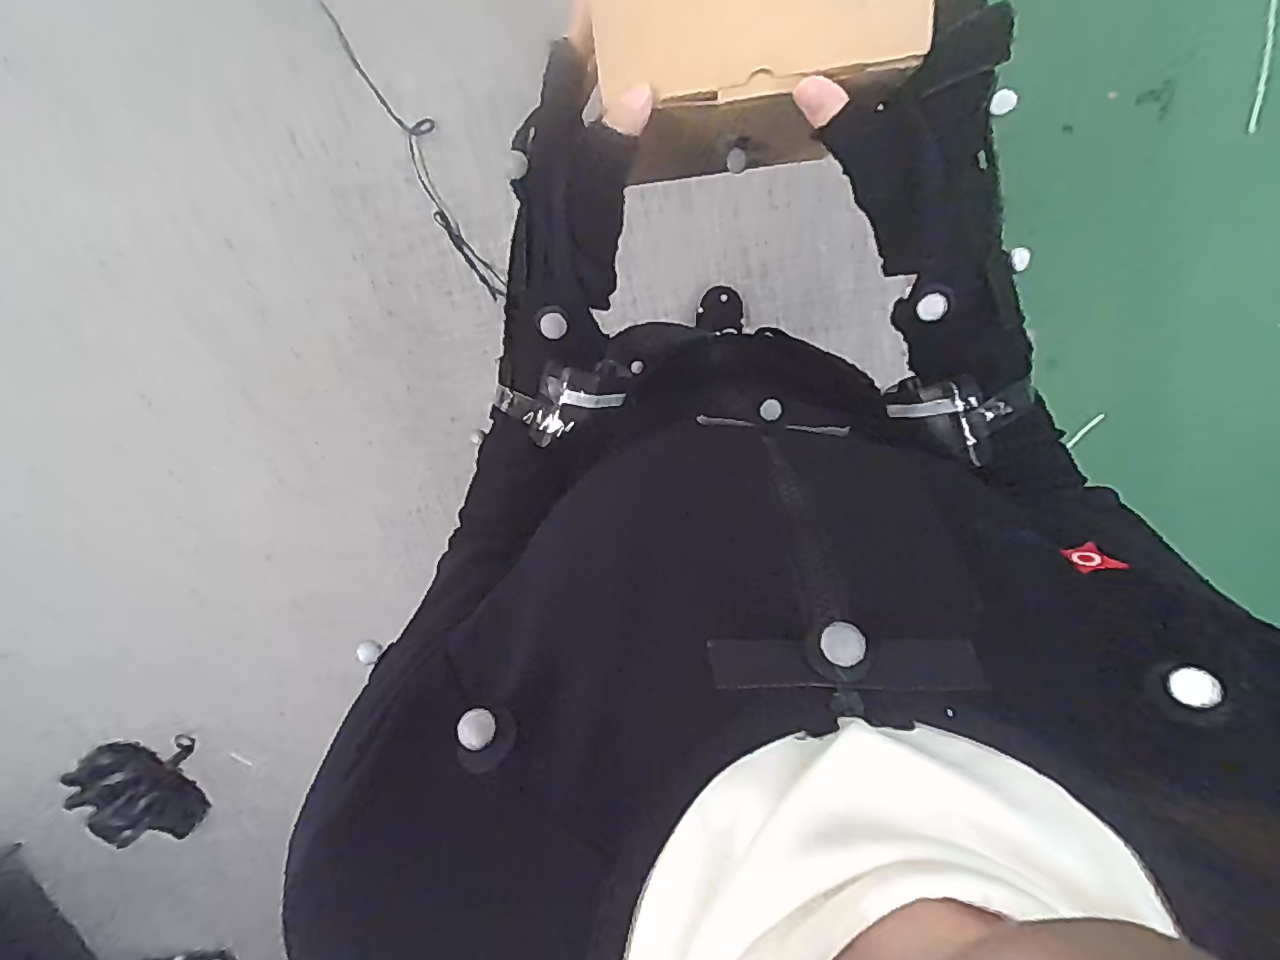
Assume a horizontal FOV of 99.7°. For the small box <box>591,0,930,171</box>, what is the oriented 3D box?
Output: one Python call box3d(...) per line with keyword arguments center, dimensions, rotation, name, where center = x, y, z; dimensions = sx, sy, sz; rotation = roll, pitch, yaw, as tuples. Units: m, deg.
box3d(center=(0.056, -0.304, 0.326), dimensions=(0.168, 0.176, 0.179), rotation=(-7, 107, 4), name="small box")
